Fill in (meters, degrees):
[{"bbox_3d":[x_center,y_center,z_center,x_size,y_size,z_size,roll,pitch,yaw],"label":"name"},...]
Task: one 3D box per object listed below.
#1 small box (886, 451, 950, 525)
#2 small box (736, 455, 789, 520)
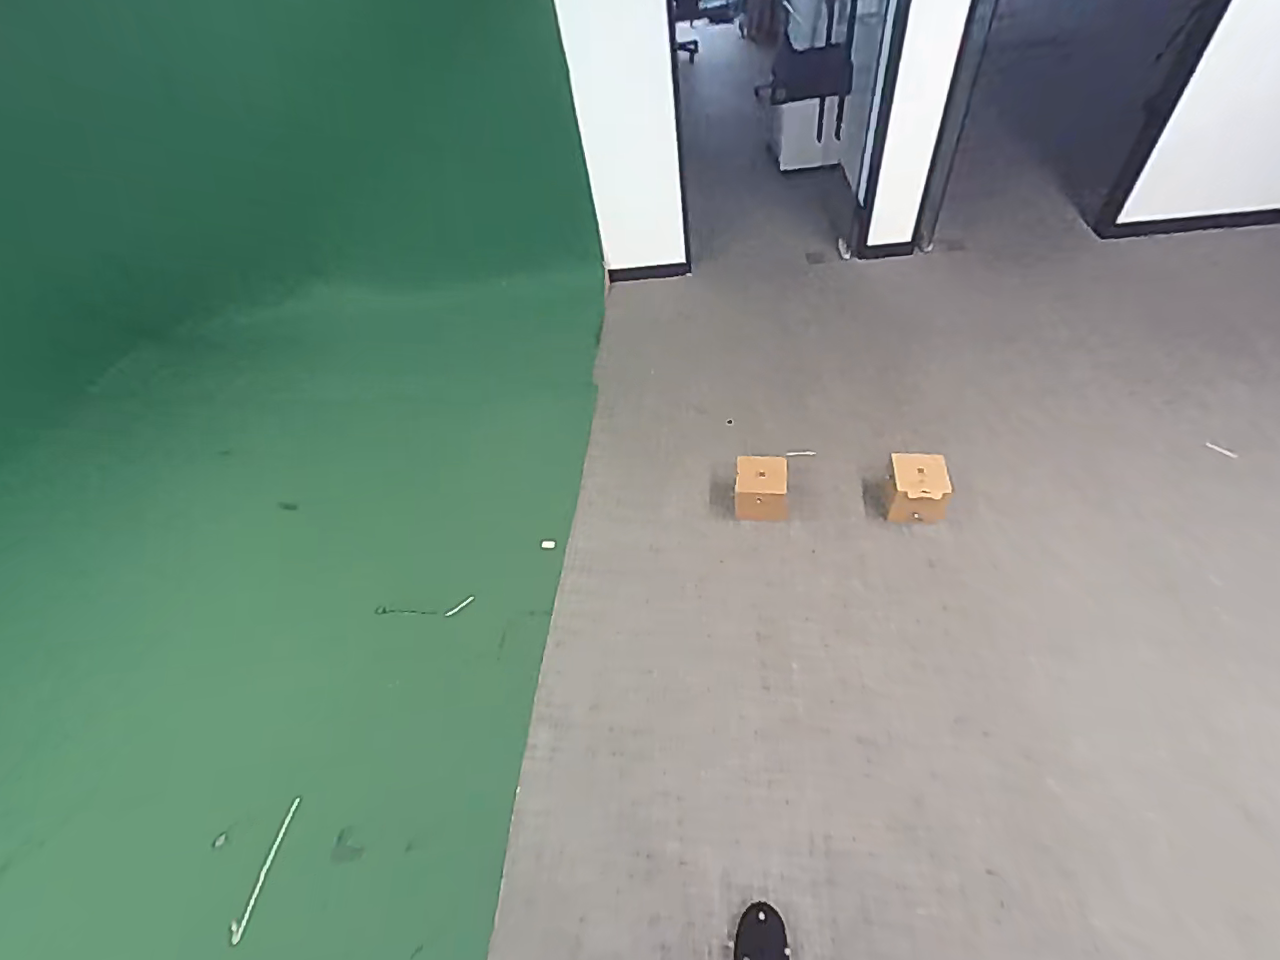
[{"bbox_3d":[0.940,0.028,1.840,0.168,0.176,0.179,7,53,18],"label":"small box"},{"bbox_3d":[0.438,0.030,1.933,0.179,0.176,0.168,3,51,12],"label":"small box"}]
